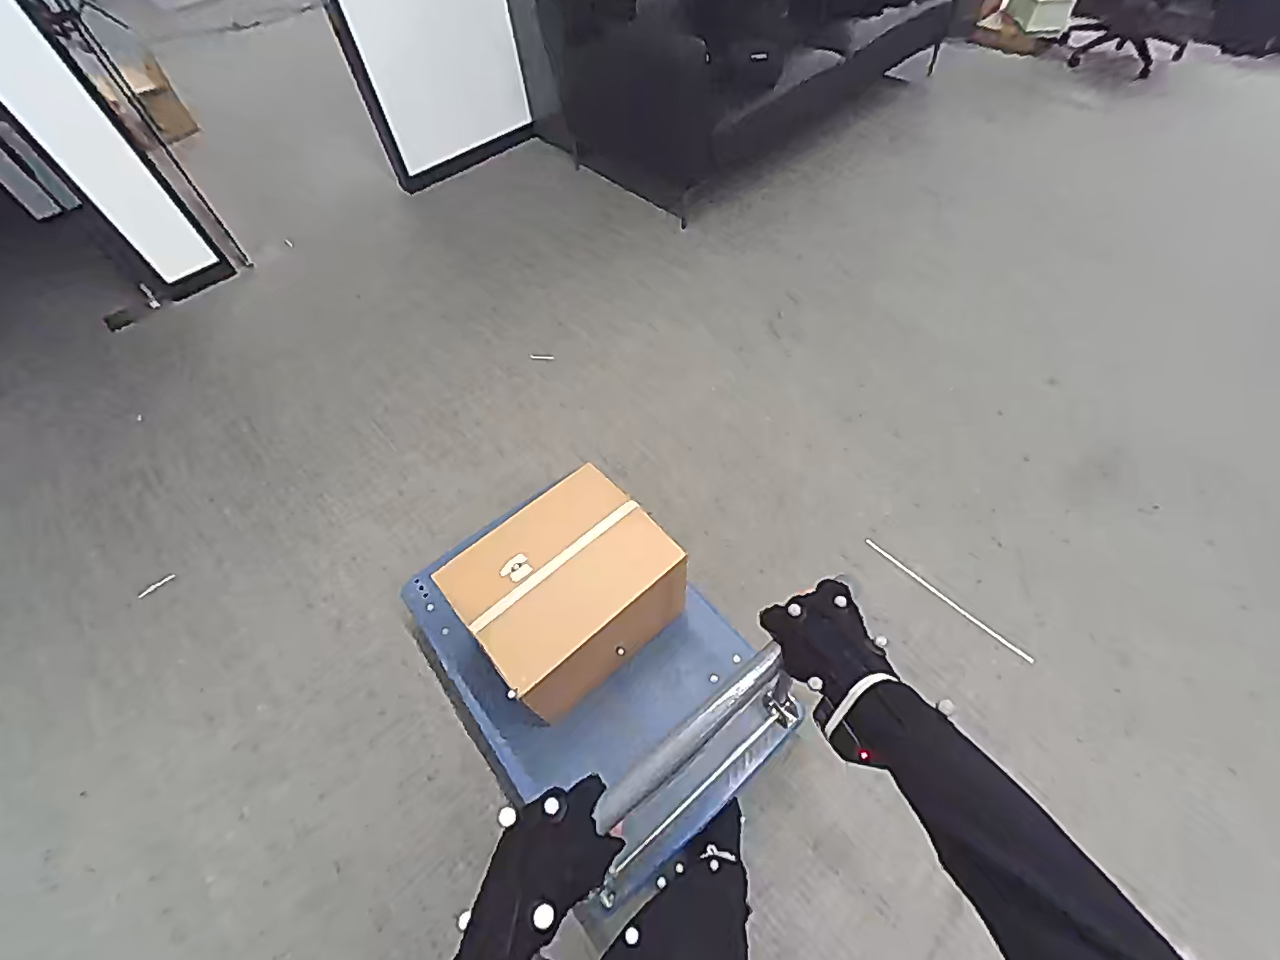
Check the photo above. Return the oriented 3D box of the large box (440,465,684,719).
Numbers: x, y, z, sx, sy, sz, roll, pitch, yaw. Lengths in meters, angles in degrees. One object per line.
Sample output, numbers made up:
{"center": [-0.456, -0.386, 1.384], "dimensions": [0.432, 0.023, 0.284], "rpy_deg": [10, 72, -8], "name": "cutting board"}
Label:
{"center": [-0.146, 0.250, 1.201], "dimensions": [0.408, 0.320, 0.320], "rpy_deg": [-39, 62, -19], "name": "large box"}
